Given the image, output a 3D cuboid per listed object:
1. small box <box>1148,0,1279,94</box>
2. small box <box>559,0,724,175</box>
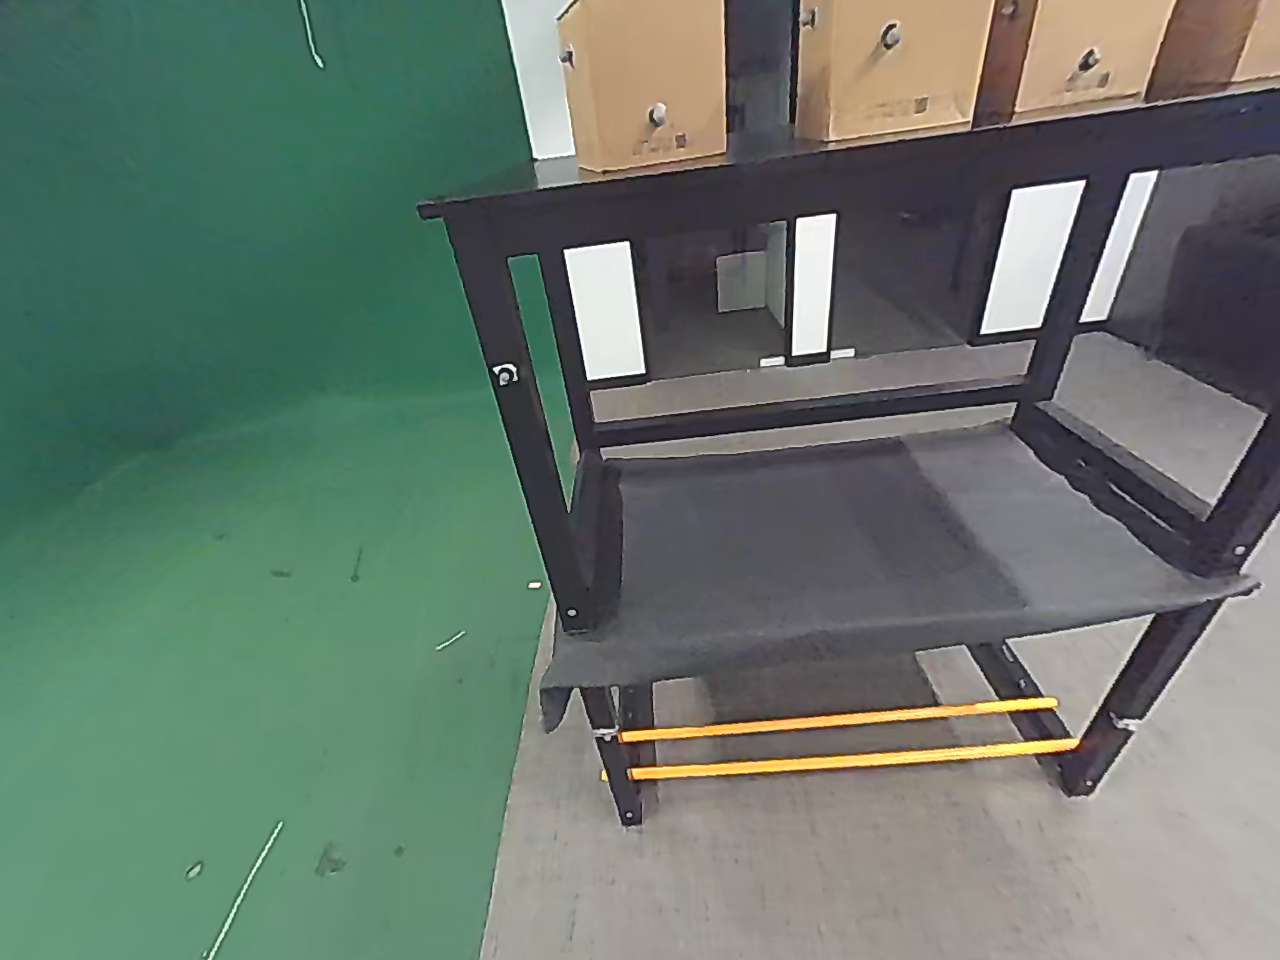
[{"bbox_3d":[0.761,-0.566,0.631,0.168,0.176,0.179,1,35,13],"label":"small box"},{"bbox_3d":[0.000,-0.499,0.696,0.168,0.176,0.179,-14,35,-9],"label":"small box"}]
